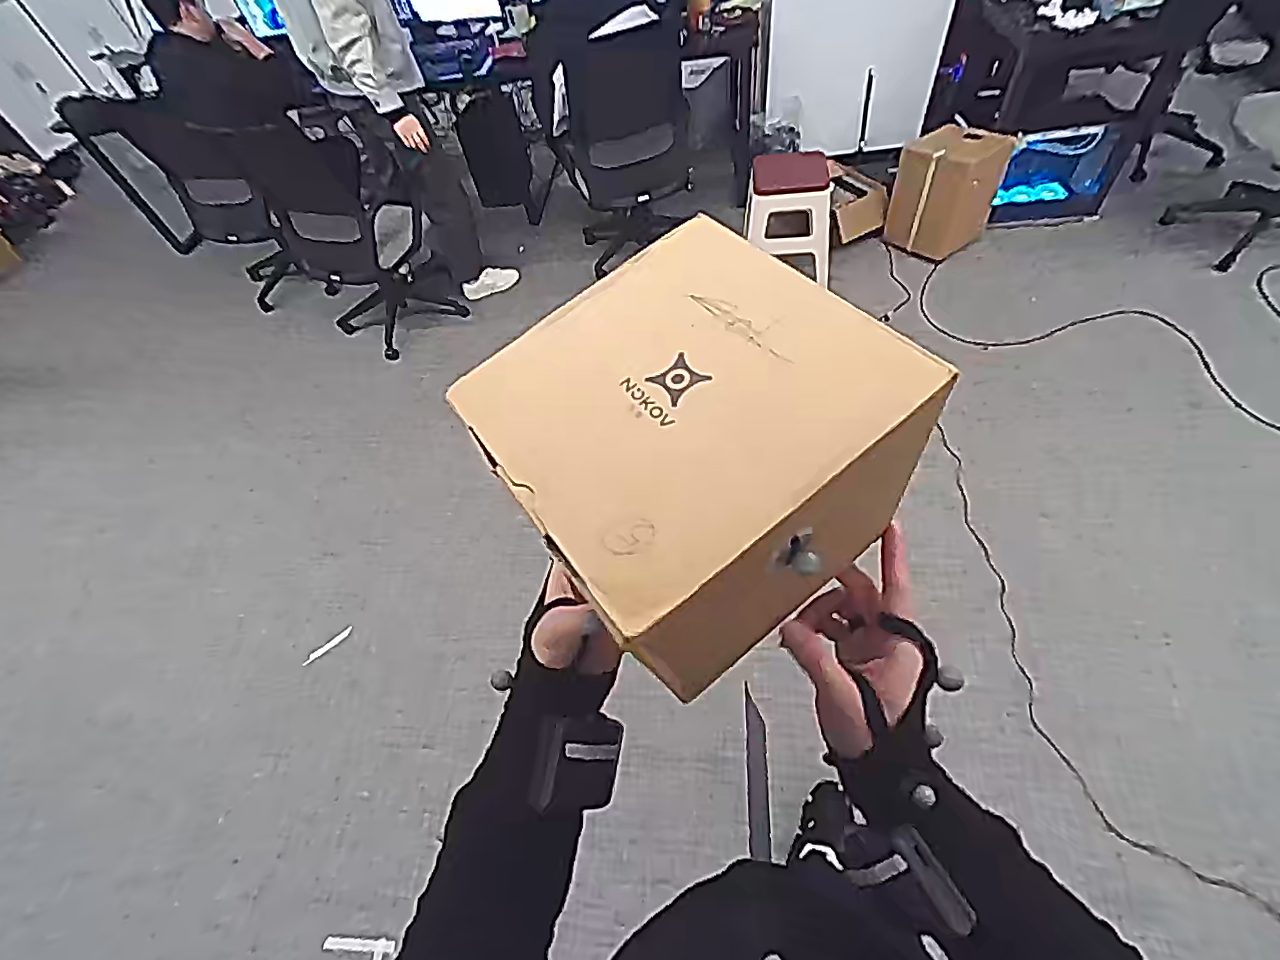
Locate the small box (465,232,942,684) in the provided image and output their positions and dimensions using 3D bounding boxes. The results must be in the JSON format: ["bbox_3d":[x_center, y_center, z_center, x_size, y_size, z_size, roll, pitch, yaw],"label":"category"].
[{"bbox_3d":[0.035,-0.002,0.328,0.179,0.176,0.168,-37,61,-10],"label":"small box"}]
